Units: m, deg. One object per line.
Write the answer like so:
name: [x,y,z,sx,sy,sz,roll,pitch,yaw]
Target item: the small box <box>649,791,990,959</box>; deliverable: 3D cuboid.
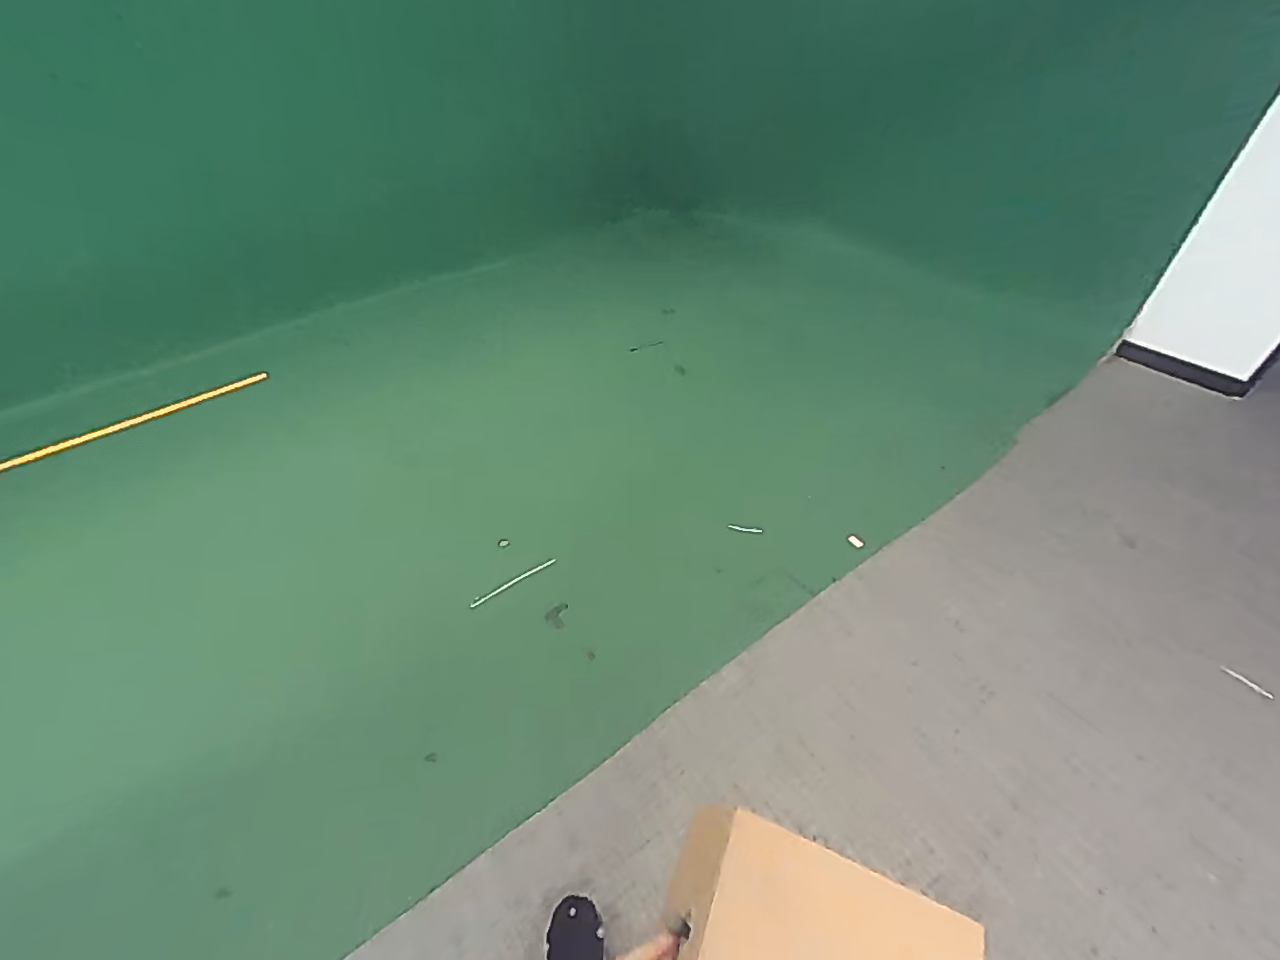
small box: [0.102,0.345,0.370,0.168,0.176,0.179,23,57,8]
